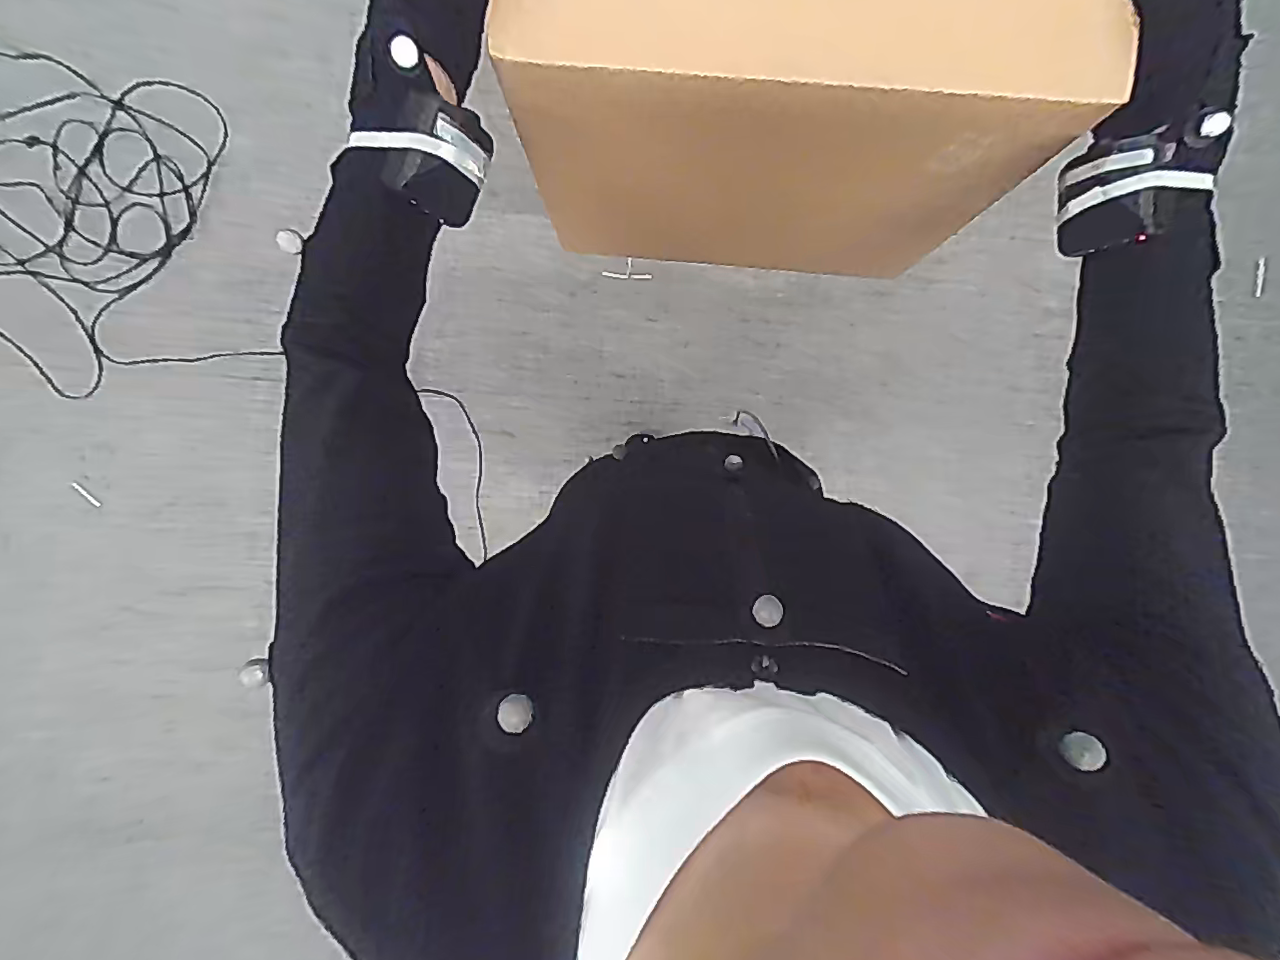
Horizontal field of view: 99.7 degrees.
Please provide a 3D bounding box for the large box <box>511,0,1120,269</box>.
[{"bbox_3d":[0.118,-0.413,0.500,0.408,0.320,0.320,4,91,0],"label":"large box"}]
